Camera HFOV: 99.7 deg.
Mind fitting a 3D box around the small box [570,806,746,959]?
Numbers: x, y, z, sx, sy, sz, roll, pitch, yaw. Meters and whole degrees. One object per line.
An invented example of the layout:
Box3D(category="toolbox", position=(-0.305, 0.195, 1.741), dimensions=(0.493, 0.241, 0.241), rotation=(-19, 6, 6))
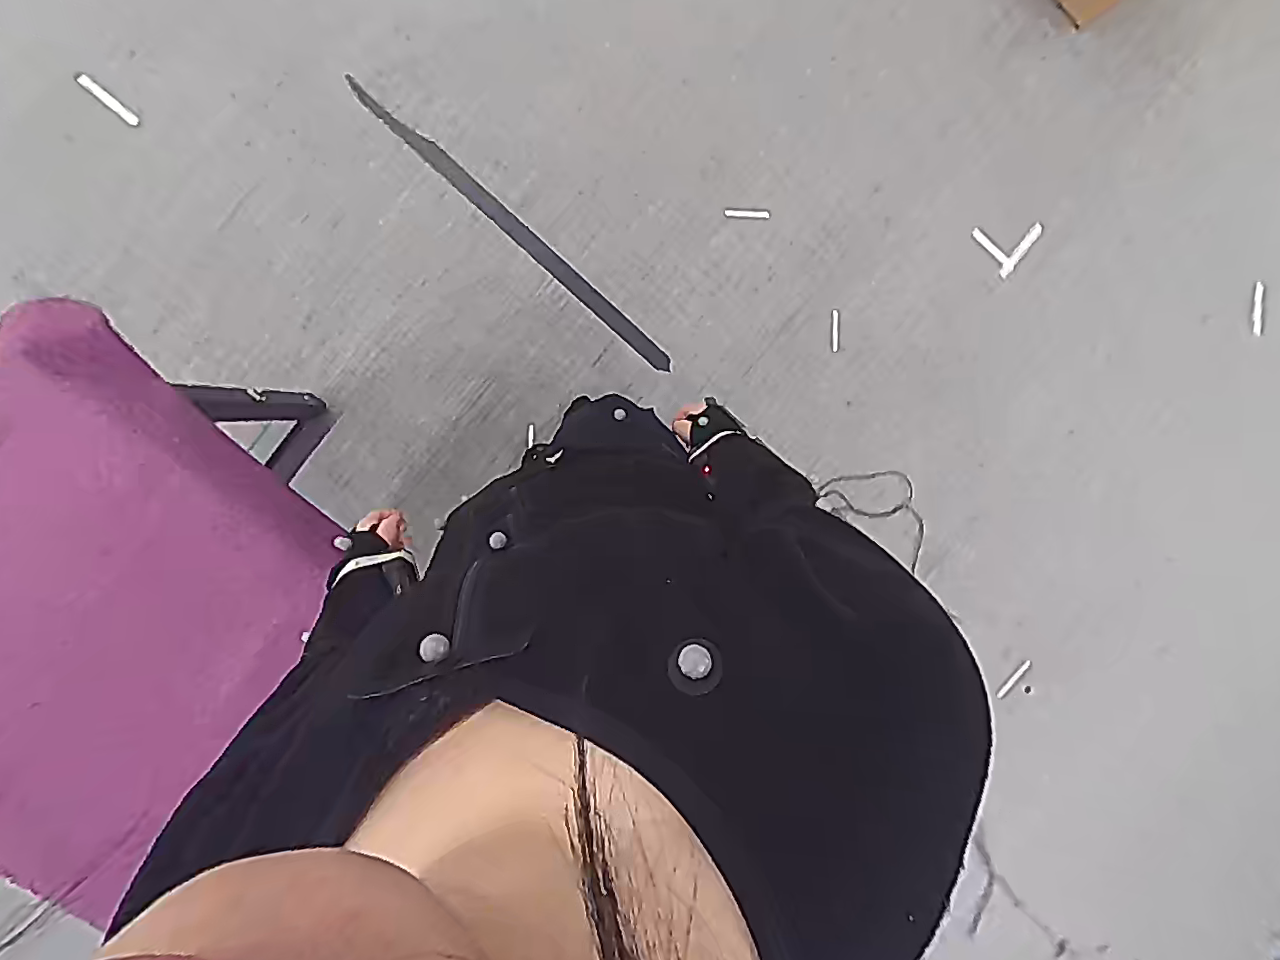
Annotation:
Box3D(category="small box", position=(0.012, 0.610, 0.755), dimensions=(0.168, 0.176, 0.179), rotation=(41, 91, -8))
